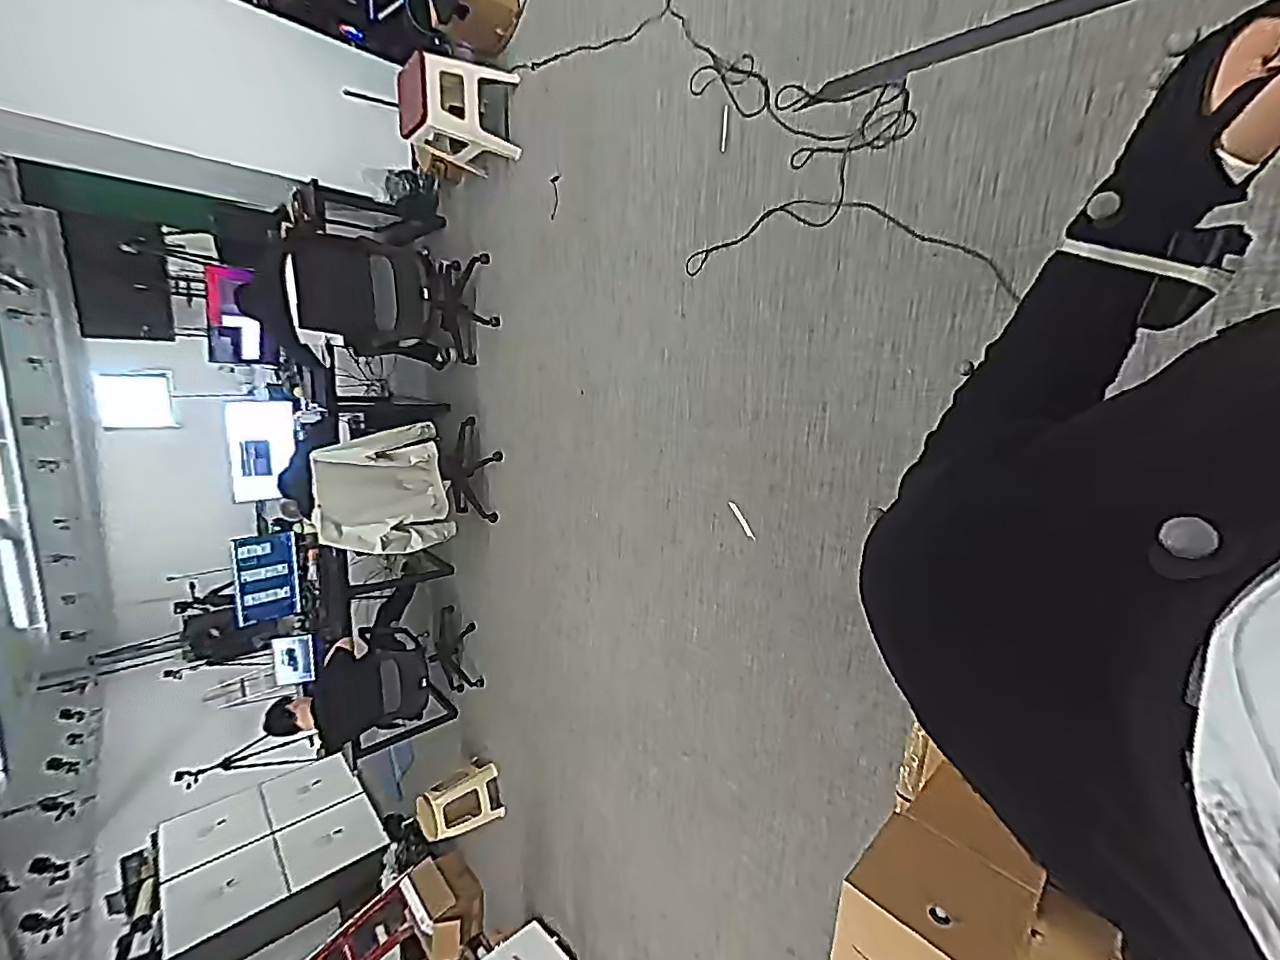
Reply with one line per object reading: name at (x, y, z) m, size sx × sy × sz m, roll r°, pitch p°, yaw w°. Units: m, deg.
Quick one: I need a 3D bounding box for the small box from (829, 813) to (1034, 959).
small box at (0.368, 0.573, 0.685) m, size 0.179 × 0.176 × 0.168 m, roll 16°, pitch 107°, yaw 45°

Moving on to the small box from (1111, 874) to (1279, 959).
small box at (0.650, 0.619, 0.621) m, size 0.168 × 0.176 × 0.179 m, roll 15°, pitch 106°, yaw 48°

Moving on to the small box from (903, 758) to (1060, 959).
small box at (0.491, 0.558, 0.796) m, size 0.168 × 0.176 × 0.179 m, roll 15°, pitch 105°, yaw 44°
